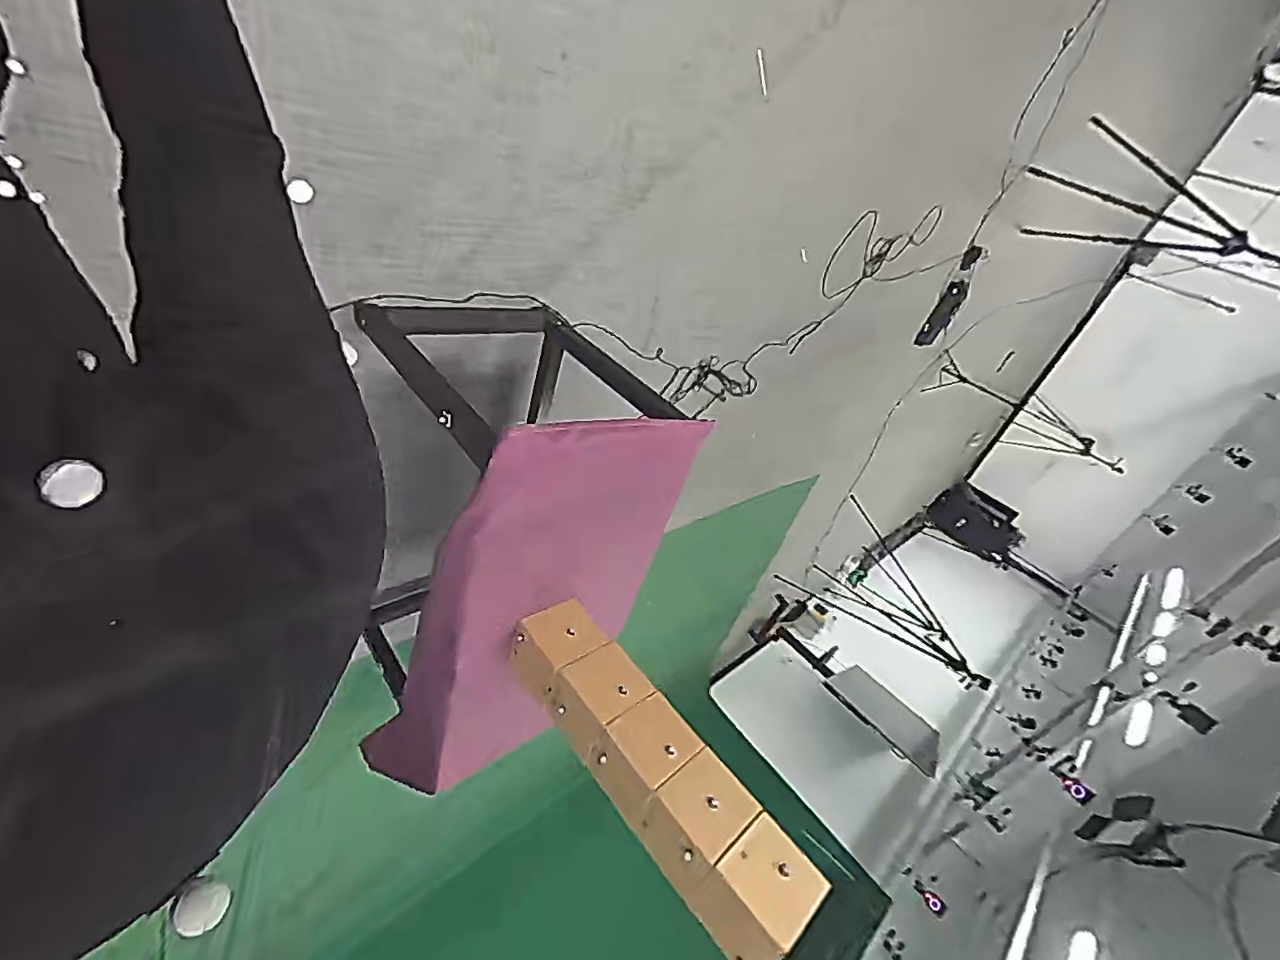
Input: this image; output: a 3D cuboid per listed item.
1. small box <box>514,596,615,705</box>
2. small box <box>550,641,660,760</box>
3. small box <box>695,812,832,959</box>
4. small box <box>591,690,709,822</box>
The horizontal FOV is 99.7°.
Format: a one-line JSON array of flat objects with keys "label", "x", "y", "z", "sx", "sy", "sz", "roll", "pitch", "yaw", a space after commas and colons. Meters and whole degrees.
[{"label": "small box", "x": -0.199, "y": 0.429, "z": 1.383, "sx": 0.179, "sy": 0.176, "sz": 0.168, "roll": -15, "pitch": 136, "yaw": -43}, {"label": "small box", "x": -0.088, "y": 0.520, "z": 1.302, "sx": 0.179, "sy": 0.176, "sz": 0.168, "roll": -14, "pitch": 135, "yaw": -42}, {"label": "small box", "x": 0.233, "y": 0.794, "z": 1.055, "sx": 0.168, "sy": 0.176, "sz": 0.179, "roll": -16, "pitch": 137, "yaw": -43}, {"label": "small box", "x": 0.018, "y": 0.612, "z": 1.221, "sx": 0.179, "sy": 0.176, "sz": 0.168, "roll": -15, "pitch": 135, "yaw": -42}]
